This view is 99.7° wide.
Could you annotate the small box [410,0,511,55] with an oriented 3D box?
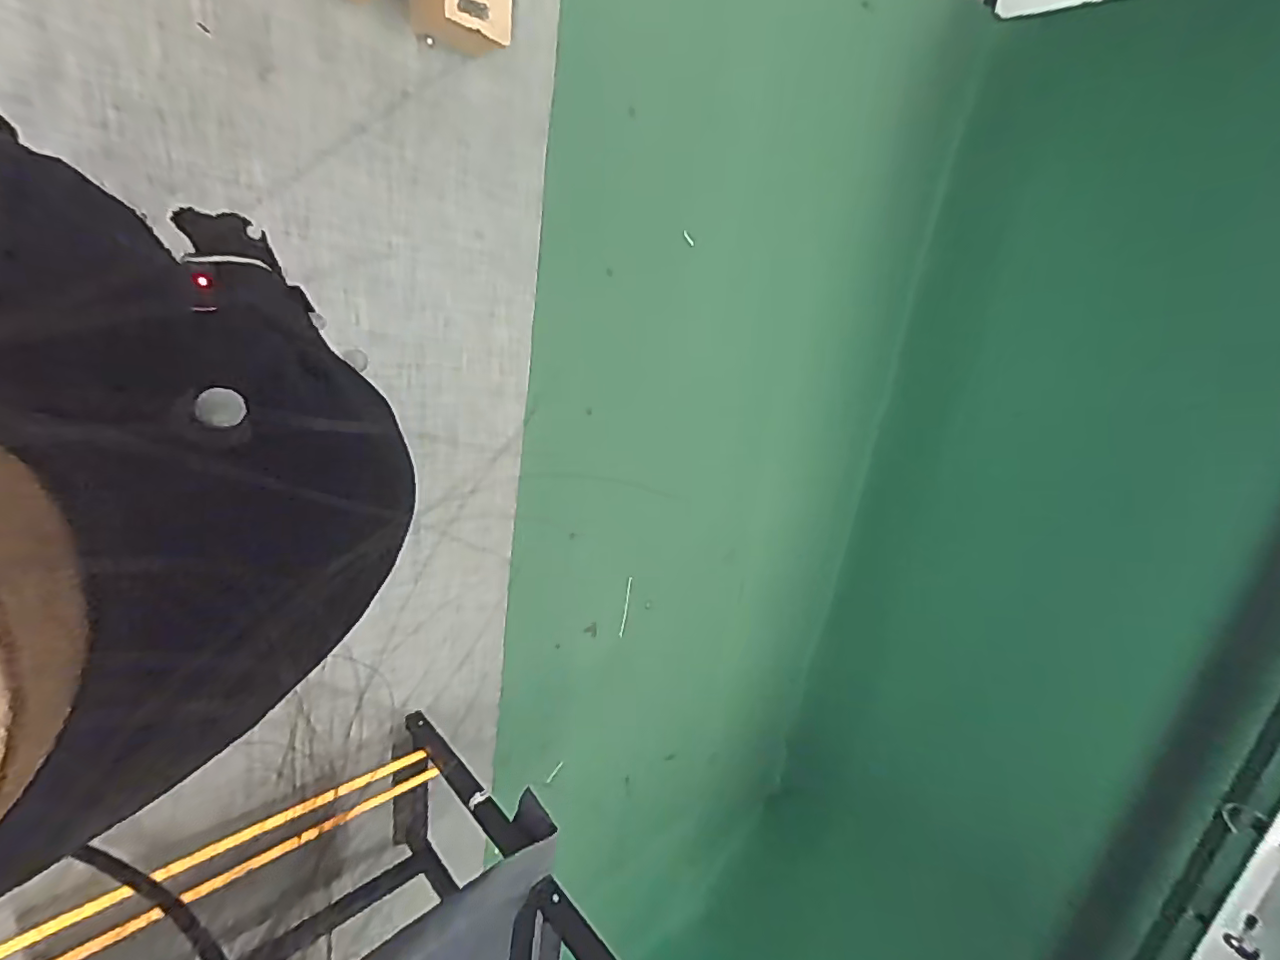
[{"bbox_3d":[-0.412,-1.117,1.238,0.168,0.176,0.179,-10,115,-46],"label":"small box"}]
